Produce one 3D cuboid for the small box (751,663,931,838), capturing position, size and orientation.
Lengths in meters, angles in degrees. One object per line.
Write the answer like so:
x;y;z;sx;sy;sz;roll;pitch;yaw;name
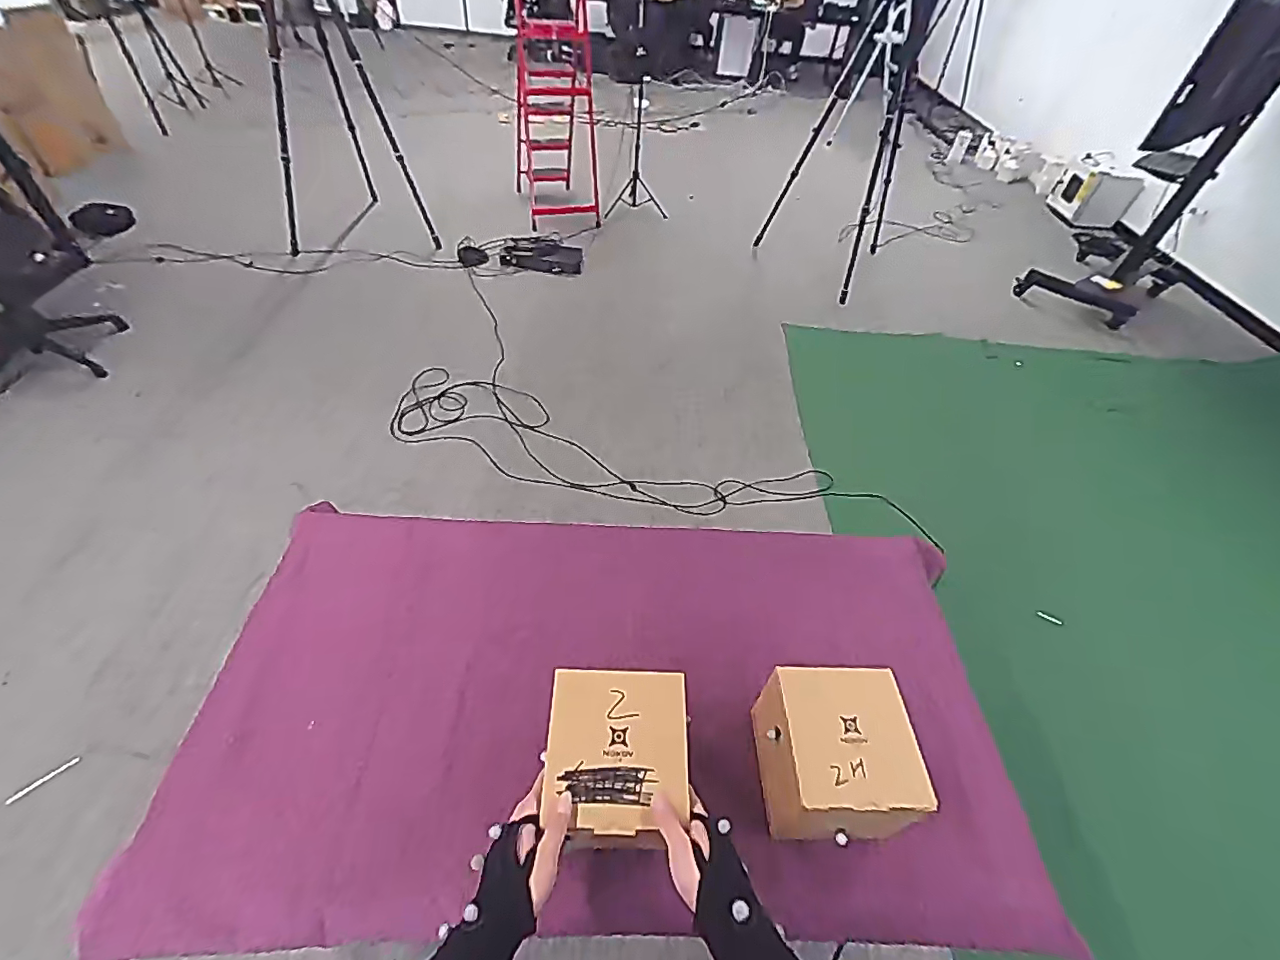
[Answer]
0.260;0.377;0.753;0.168;0.176;0.179;3;47;-3;small box
